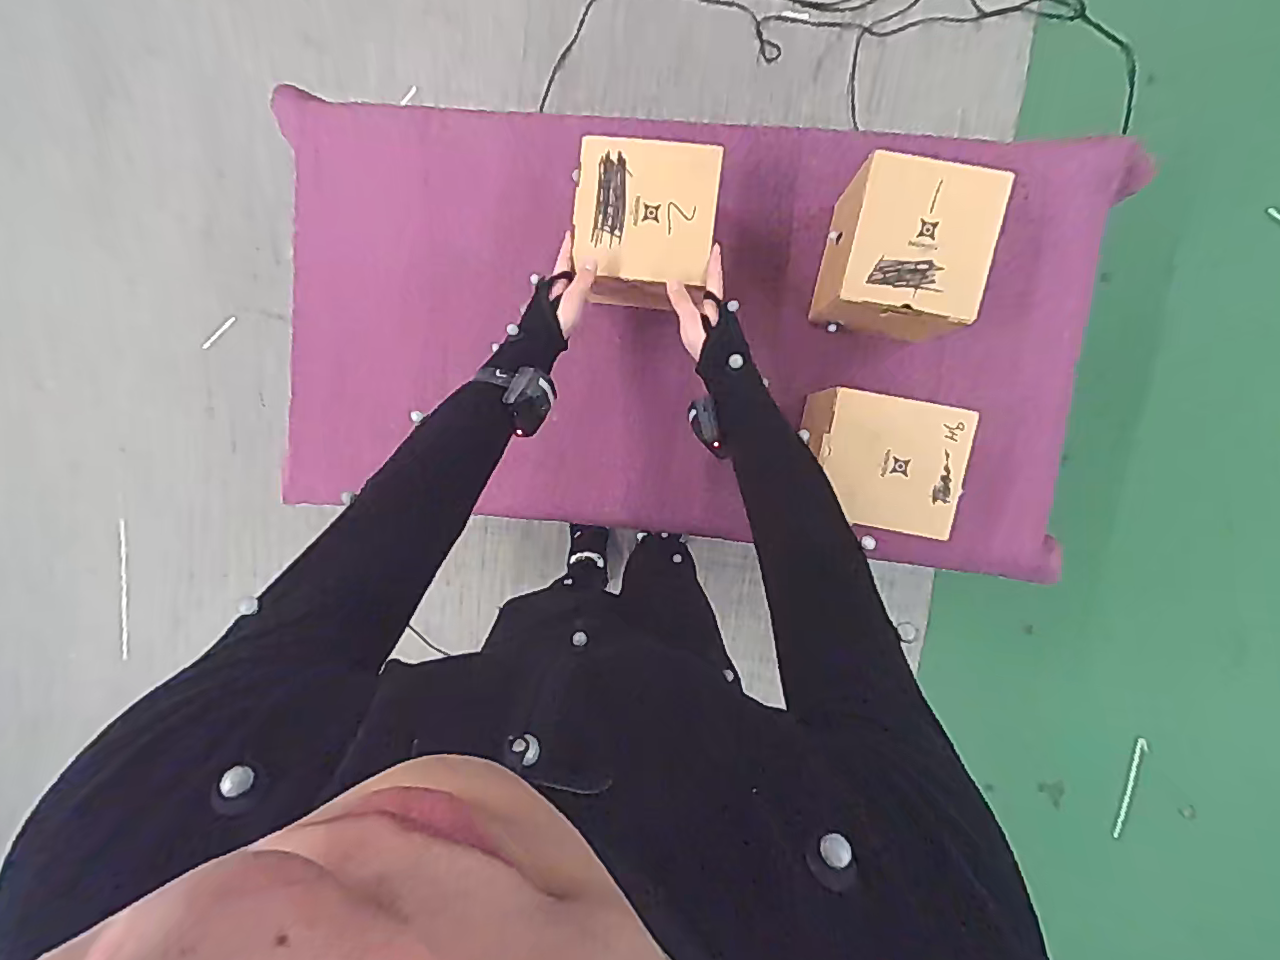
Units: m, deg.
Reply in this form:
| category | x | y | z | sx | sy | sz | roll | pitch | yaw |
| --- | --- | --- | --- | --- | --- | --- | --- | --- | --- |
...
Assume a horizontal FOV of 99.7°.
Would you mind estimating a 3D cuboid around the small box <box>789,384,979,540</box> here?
| category | x | y | z | sx | sy | sz | roll | pitch | yaw |
| --- | --- | --- | --- | --- | --- | --- | --- | --- | --- |
| small box | 0.318 | -0.028 | 0.746 | 0.179 | 0.176 | 0.168 | 12 | 96 | 4 |

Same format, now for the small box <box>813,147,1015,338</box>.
| category | x | y | z | sx | sy | sz | roll | pitch | yaw |
| --- | --- | --- | --- | --- | --- | --- | --- | --- | --- |
| small box | 0.342 | -0.297 | 0.716 | 0.168 | 0.176 | 0.179 | 13 | 97 | 3 |
